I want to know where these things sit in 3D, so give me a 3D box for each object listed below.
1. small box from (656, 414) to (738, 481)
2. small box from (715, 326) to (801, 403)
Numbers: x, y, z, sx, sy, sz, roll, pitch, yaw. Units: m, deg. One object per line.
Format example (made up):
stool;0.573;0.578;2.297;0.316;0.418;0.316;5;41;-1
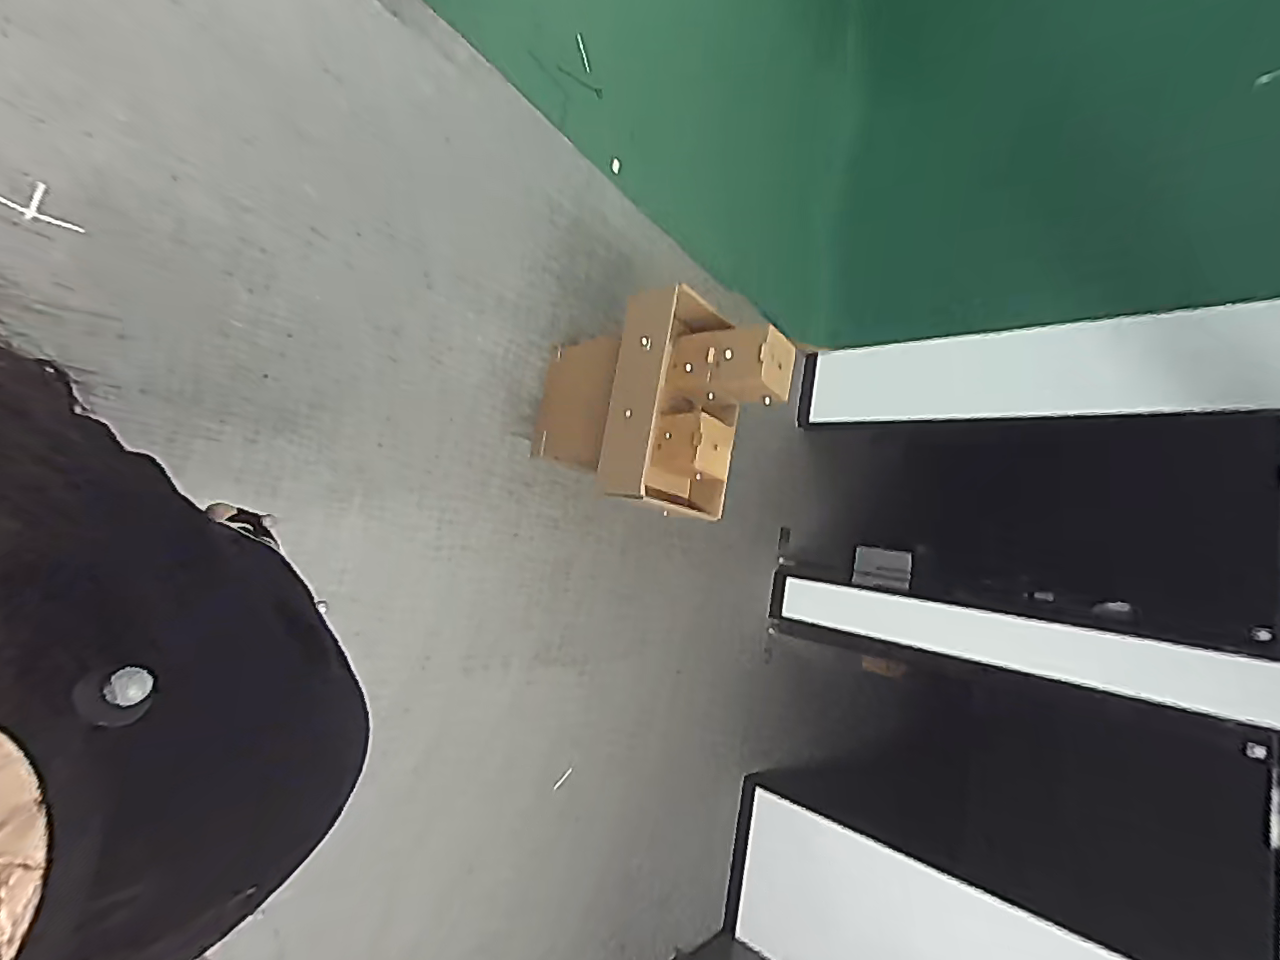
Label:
small box;0.175;-0.098;1.651;0.179;0.176;0.168;18;79;-46
small box;0.345;-0.330;1.575;0.179;0.176;0.168;19;79;-47
